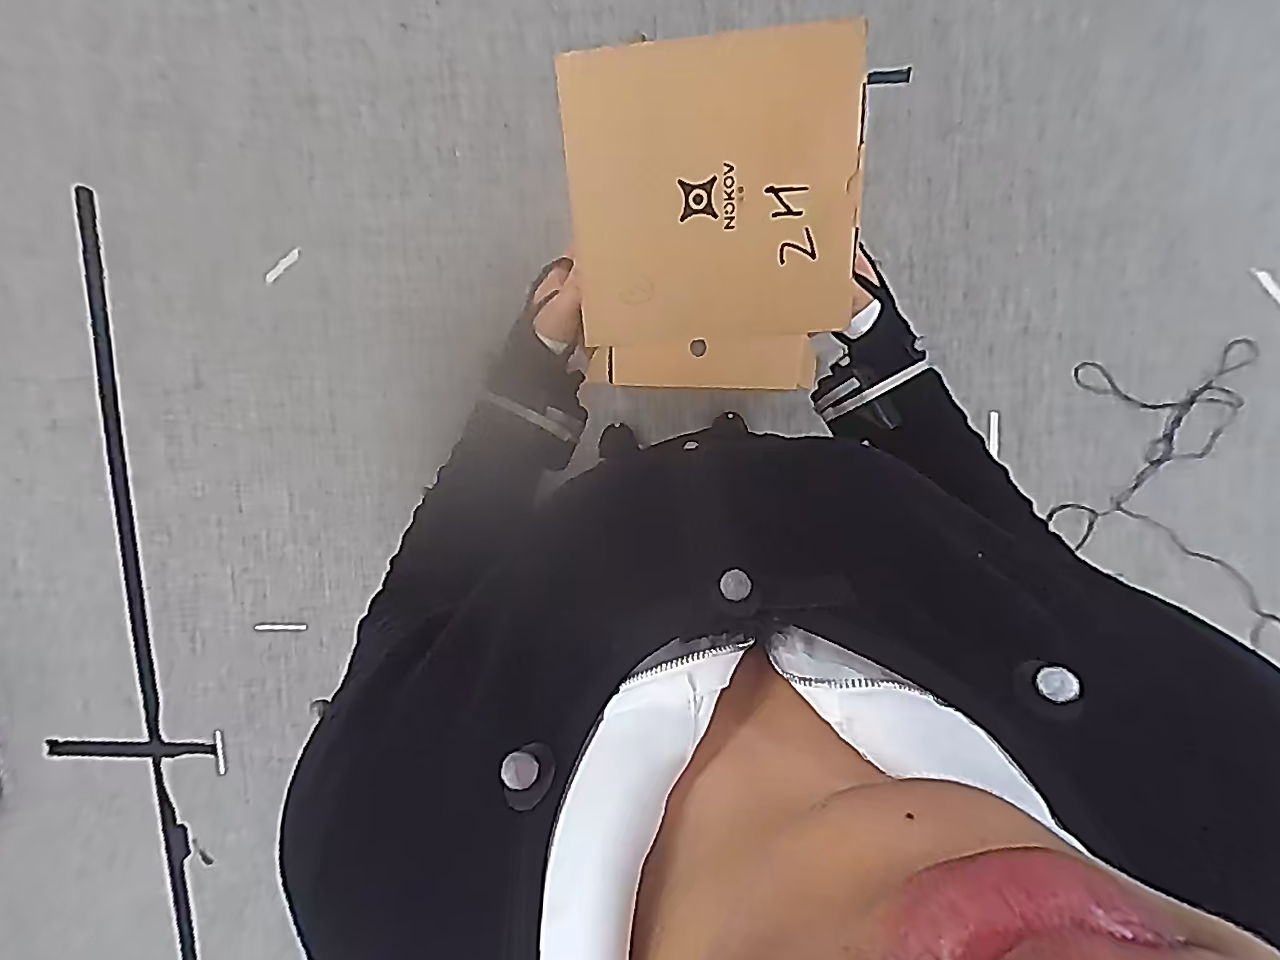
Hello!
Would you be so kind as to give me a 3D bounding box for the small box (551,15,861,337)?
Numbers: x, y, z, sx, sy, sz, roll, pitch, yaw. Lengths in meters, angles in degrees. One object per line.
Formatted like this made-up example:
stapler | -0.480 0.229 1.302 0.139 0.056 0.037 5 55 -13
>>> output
small box | 0.045 -0.201 0.403 0.179 0.176 0.168 -3 111 4
